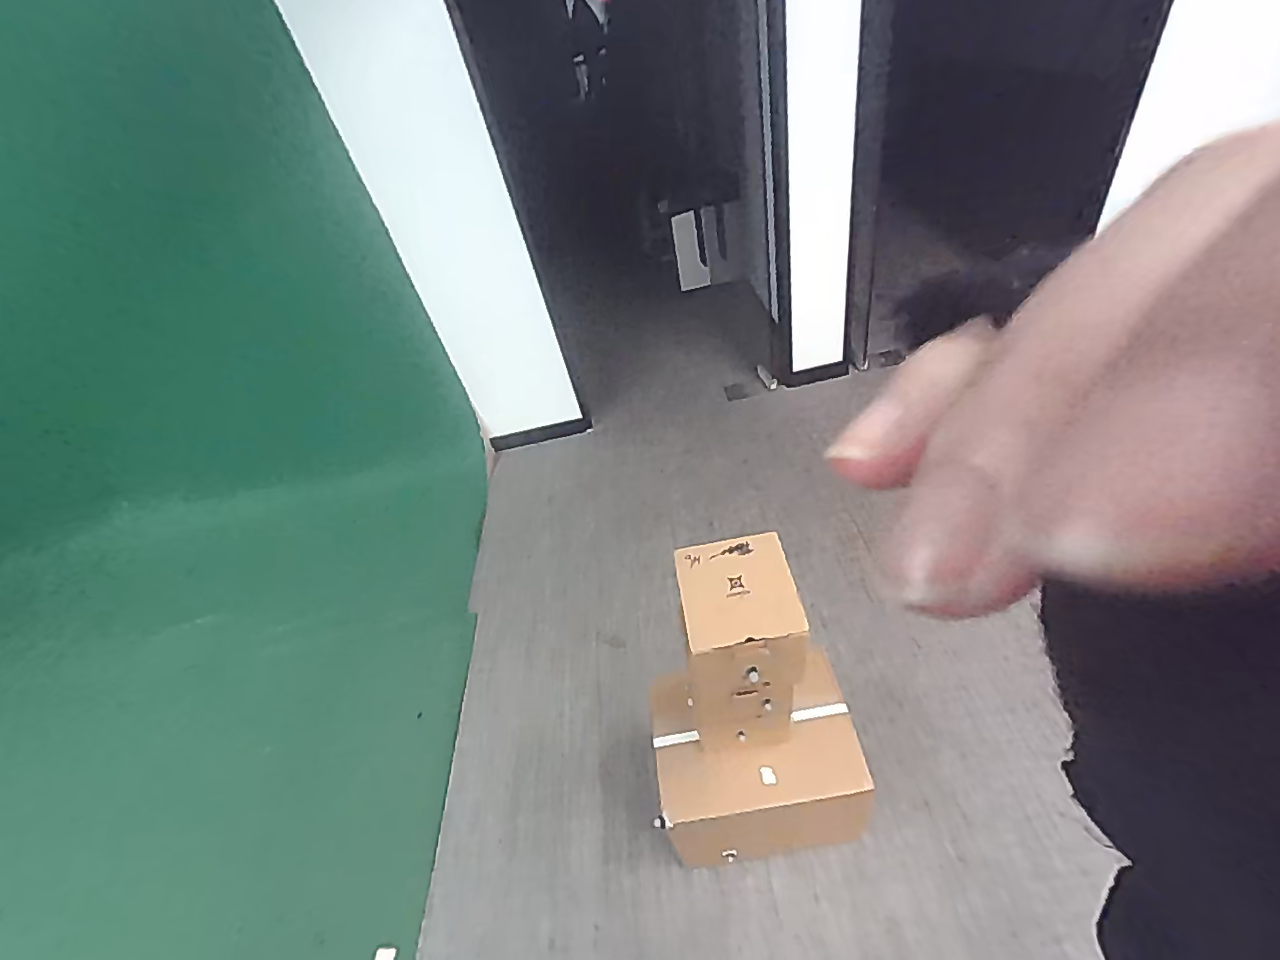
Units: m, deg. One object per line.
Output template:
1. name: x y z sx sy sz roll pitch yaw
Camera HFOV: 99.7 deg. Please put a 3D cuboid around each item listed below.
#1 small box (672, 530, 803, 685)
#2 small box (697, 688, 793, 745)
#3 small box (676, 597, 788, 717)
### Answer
1. small box: 0.152 0.209 0.854 0.168 0.176 0.179 -11 48 4
2. small box: 0.199 0.419 1.098 0.179 0.176 0.168 -12 48 3
3. small box: 0.168 0.313 0.980 0.168 0.176 0.179 -11 46 3
